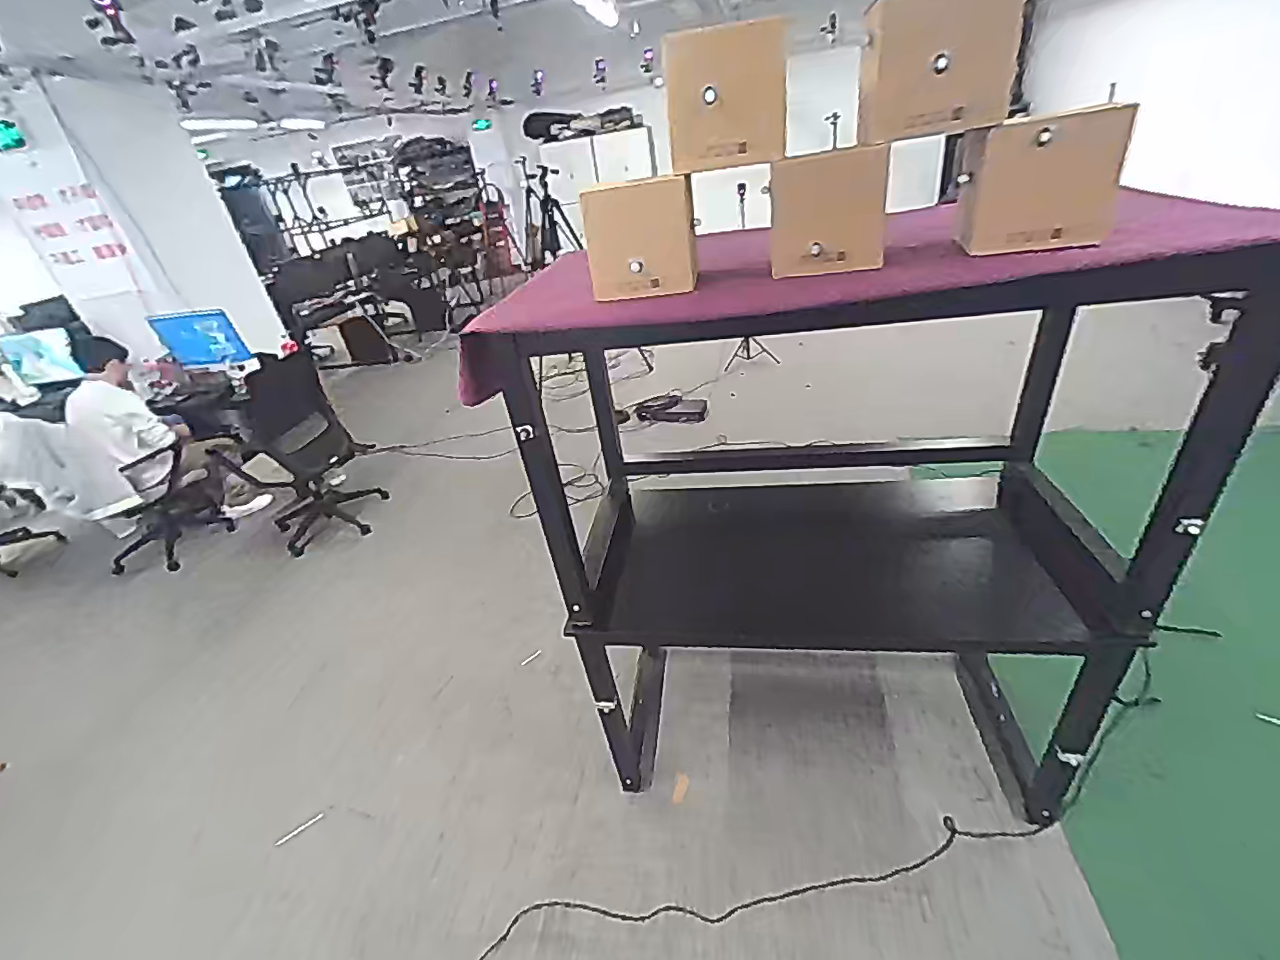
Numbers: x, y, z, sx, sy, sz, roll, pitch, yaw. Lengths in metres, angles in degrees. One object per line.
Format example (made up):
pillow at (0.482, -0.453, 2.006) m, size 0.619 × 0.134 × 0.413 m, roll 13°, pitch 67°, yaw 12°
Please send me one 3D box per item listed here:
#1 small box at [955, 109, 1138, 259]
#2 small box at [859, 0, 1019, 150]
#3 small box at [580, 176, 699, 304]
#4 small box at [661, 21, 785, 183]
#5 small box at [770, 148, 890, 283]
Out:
small box at (0.583, -0.435, 0.806) m, size 0.168 × 0.176 × 0.179 m, roll 1°, pitch 31°, yaw 20°
small box at (0.409, -0.574, 0.764) m, size 0.168 × 0.176 × 0.179 m, roll -1°, pitch 31°, yaw 15°
small box at (0.009, -0.407, 0.917) m, size 0.168 × 0.176 × 0.179 m, roll -3°, pitch 32°, yaw 11°
small box at (0.127, -0.559, 0.824) m, size 0.168 × 0.176 × 0.179 m, roll -4°, pitch 30°, yaw 7°
small box at (0.297, -0.426, 0.874) m, size 0.168 × 0.176 × 0.179 m, roll -2°, pitch 32°, yaw 15°
